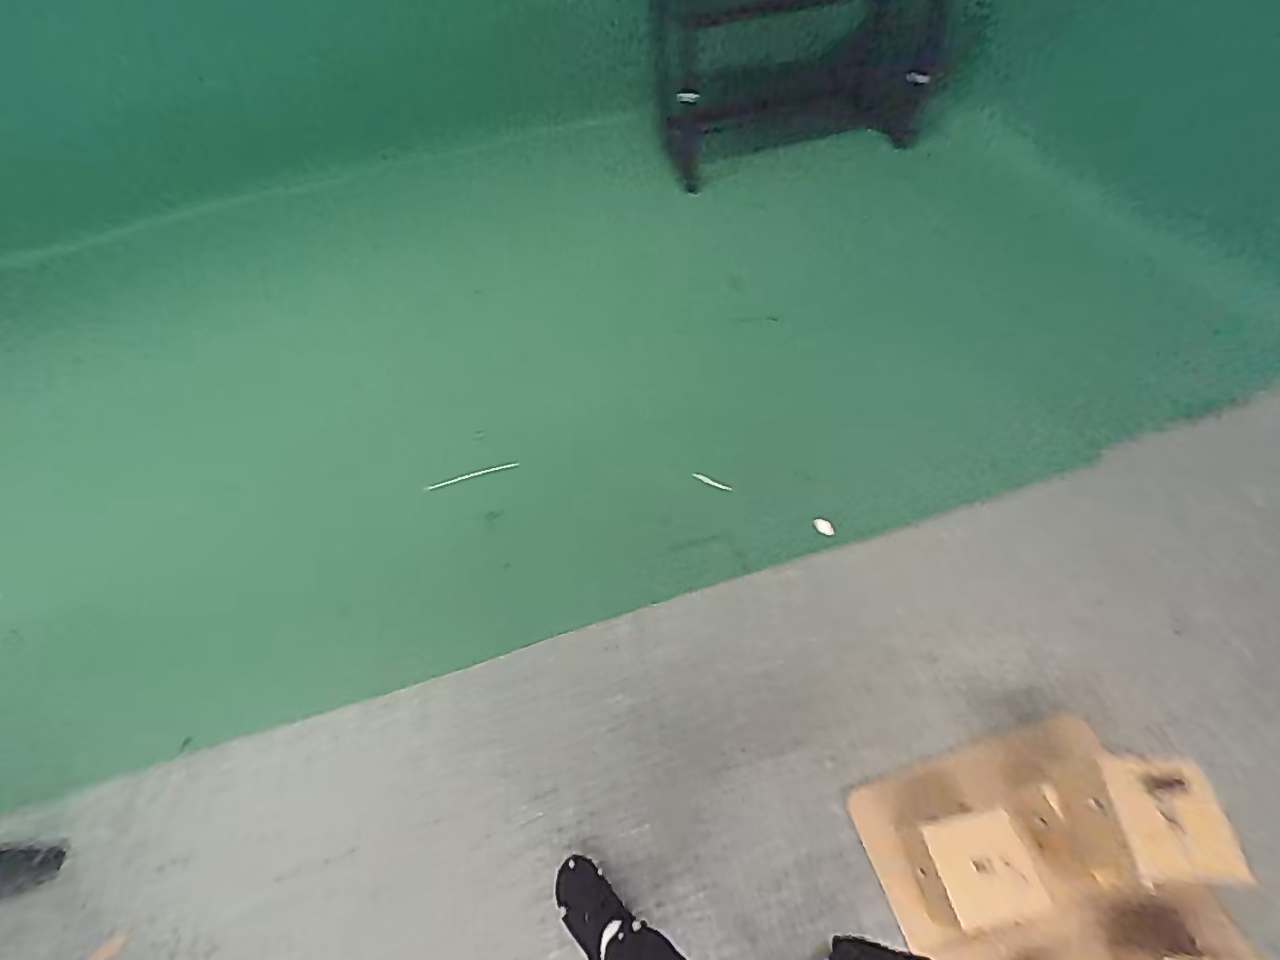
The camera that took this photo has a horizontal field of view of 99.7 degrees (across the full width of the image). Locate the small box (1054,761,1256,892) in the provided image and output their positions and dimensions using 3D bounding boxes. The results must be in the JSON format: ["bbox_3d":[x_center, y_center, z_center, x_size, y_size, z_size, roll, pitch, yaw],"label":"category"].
[{"bbox_3d":[0.886,0.611,0.958,0.168,0.176,0.179,0,56,6],"label":"small box"}]

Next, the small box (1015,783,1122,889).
[{"bbox_3d":[0.904,0.704,1.092,0.179,0.176,0.168,-14,55,-4],"label":"small box"}]

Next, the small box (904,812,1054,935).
[{"bbox_3d":[0.649,0.773,1.070,0.179,0.176,0.168,-11,56,-2],"label":"small box"}]

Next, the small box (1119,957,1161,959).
[{"bbox_3d":[0.977,0.935,0.919,0.179,0.176,0.168,0,55,6],"label":"small box"}]
